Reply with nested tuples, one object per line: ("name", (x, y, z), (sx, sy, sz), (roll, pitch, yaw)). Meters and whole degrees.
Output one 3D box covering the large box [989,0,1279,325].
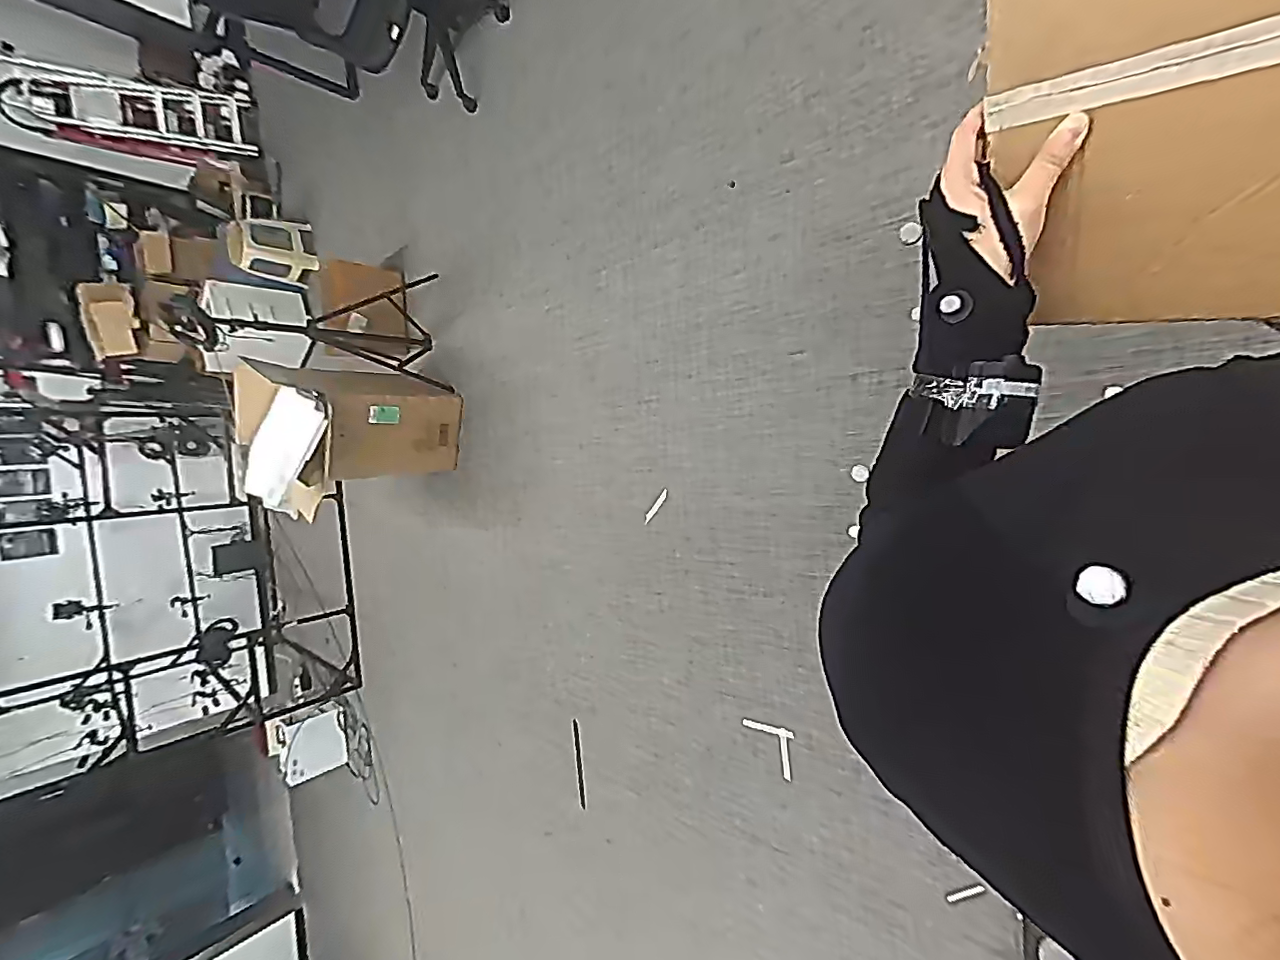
("large box", (0.459, -0.314, 0.295), (0.408, 0.320, 0.320), (10, 140, 42))
